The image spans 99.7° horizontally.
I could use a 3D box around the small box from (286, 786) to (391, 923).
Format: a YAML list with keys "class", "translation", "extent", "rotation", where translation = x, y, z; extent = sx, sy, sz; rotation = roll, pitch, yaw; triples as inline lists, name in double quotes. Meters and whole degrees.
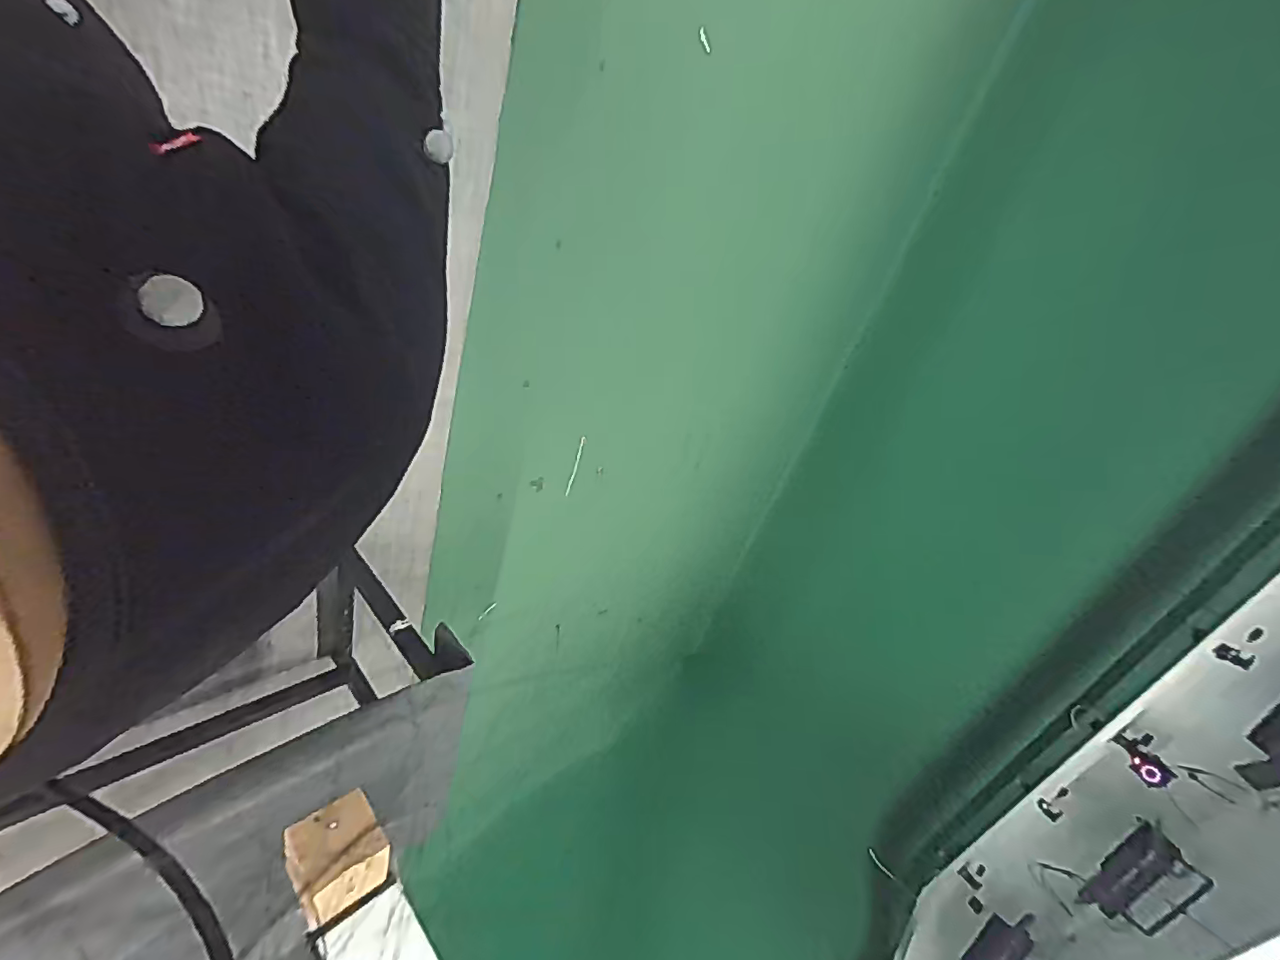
- class: "small box"
  translation: [-0.711, 0.871, 1.272]
  extent: [0.168, 0.176, 0.179]
  rotation: [-16, 134, -47]
